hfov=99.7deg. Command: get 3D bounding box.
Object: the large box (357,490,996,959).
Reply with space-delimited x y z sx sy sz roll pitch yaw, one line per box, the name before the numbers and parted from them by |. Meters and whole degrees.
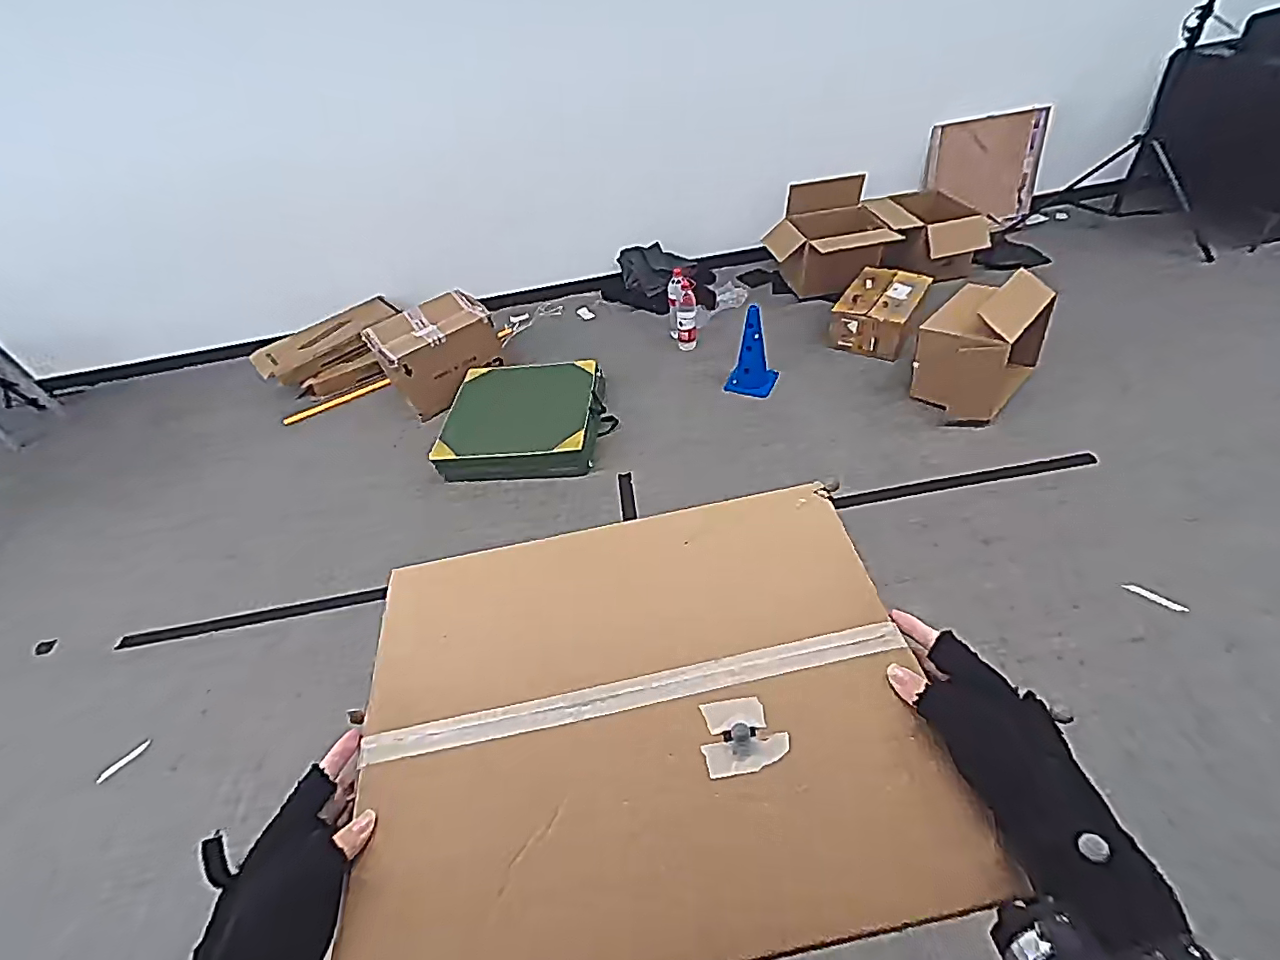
large box | 0.014 0.257 0.528 0.408 0.320 0.320 -11 50 -2
